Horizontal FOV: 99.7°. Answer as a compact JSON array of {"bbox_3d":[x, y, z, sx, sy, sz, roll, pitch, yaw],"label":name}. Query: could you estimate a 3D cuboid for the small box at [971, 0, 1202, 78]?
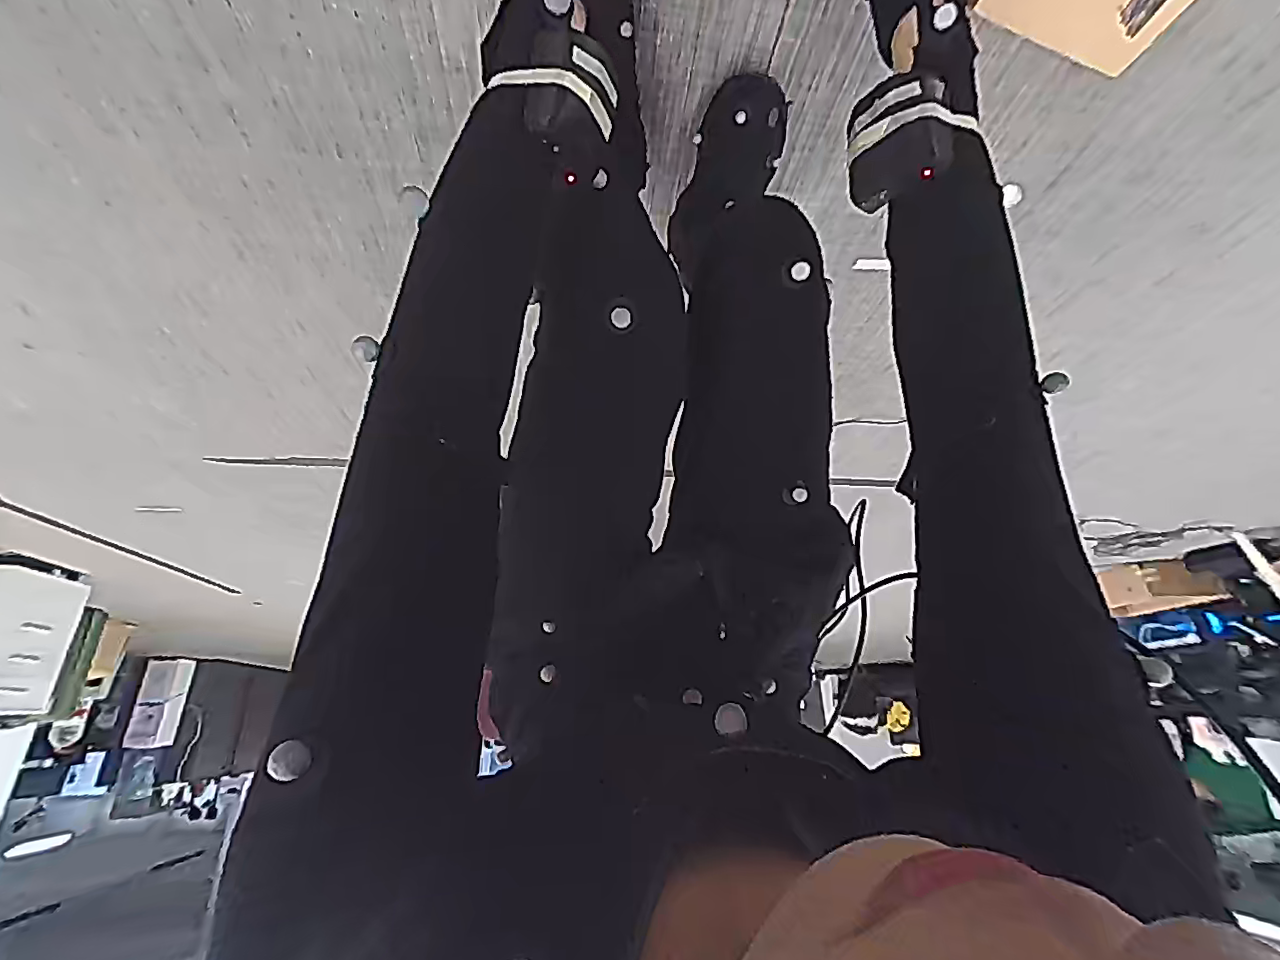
[{"bbox_3d":[0.378,-0.478,0.428,0.179,0.176,0.168,8,154,-17],"label":"small box"}]
